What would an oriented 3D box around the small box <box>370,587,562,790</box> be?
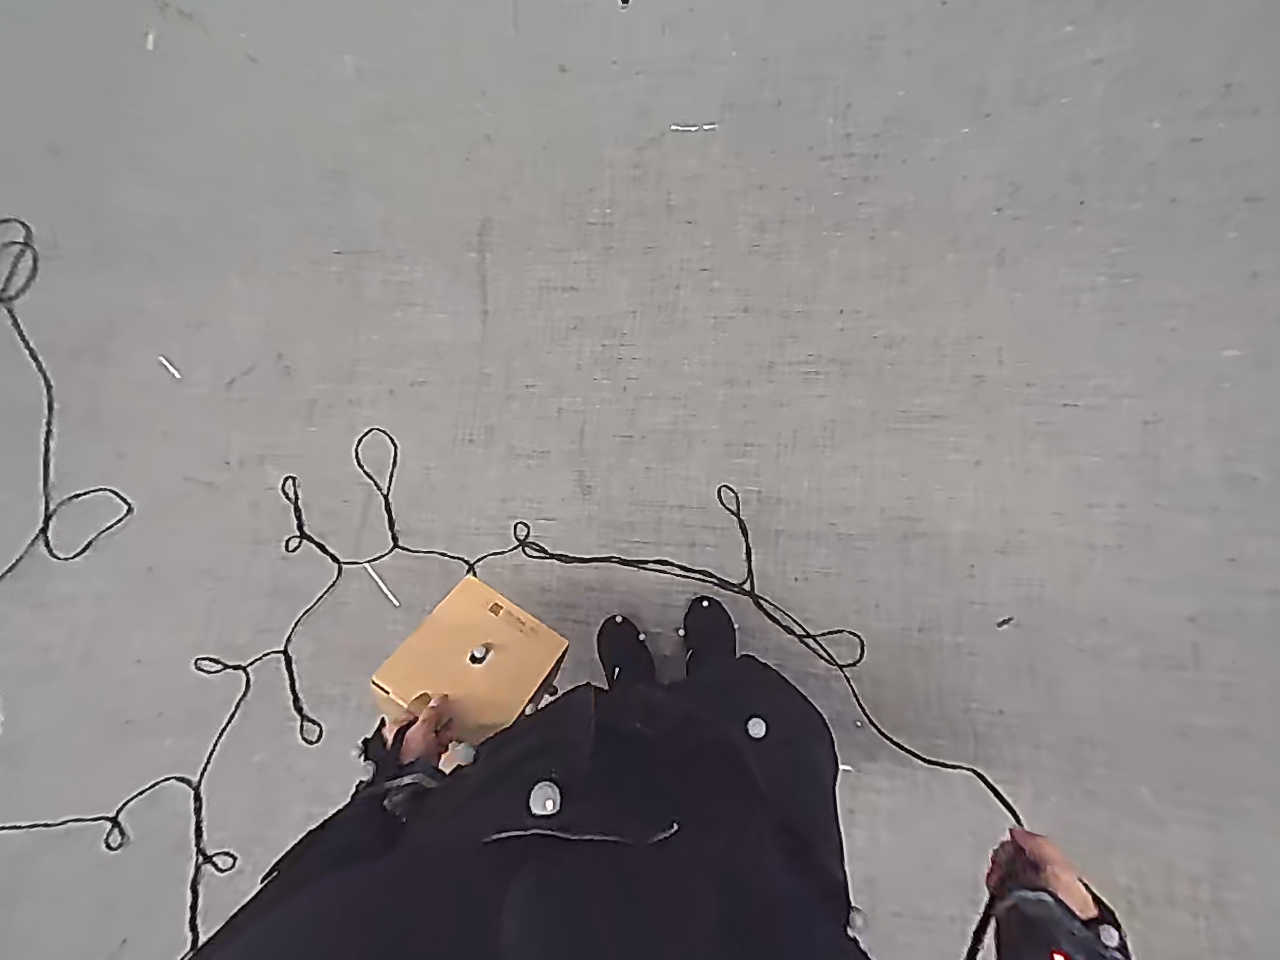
[{"bbox_3d":[-0.221,0.272,0.717,0.168,0.179,0.176,31,51,6],"label":"small box"}]
